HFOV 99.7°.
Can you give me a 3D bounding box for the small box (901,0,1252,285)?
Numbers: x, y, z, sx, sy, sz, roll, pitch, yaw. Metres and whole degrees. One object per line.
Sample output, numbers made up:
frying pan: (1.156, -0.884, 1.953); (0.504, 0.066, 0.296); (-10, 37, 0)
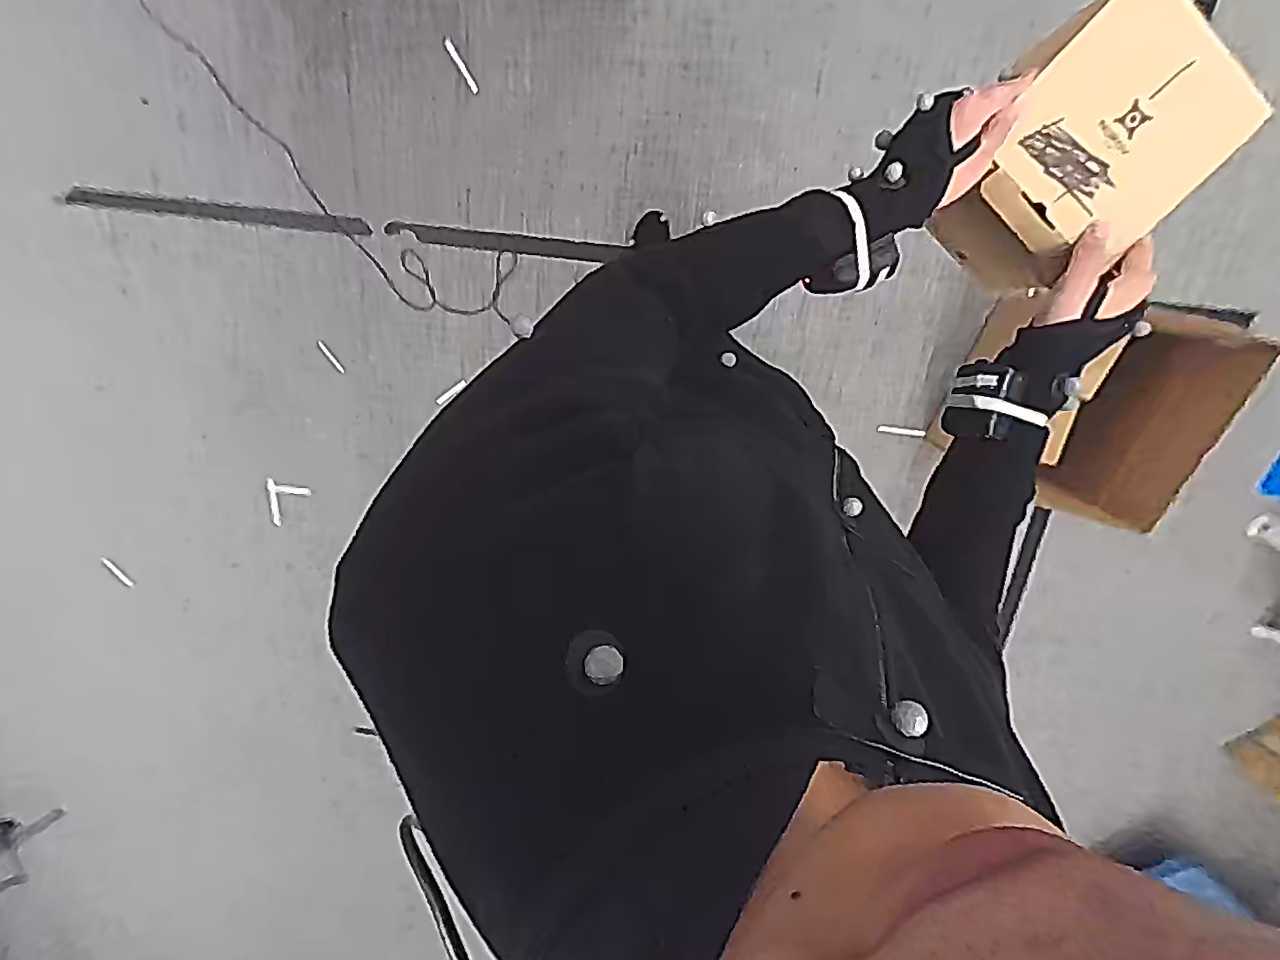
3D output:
small box: (0.389, -0.315, 0.528); (0.168, 0.176, 0.179); (41, 102, -7)
